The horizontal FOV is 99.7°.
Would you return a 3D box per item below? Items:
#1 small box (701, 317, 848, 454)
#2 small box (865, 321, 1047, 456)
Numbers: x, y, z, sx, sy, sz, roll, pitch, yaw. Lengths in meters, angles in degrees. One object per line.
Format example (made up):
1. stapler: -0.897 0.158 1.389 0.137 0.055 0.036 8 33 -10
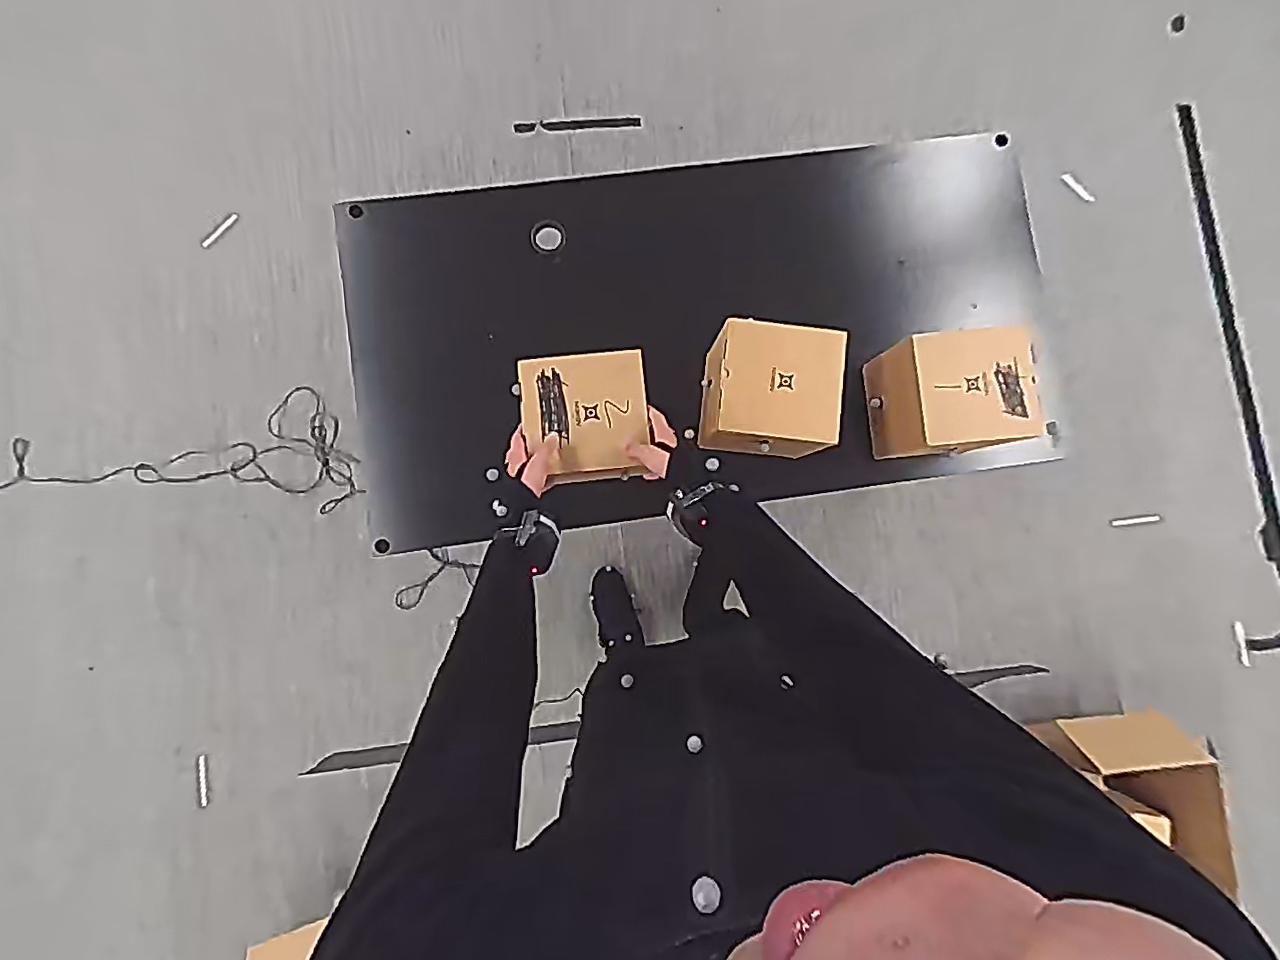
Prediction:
1. small box: 0.199 -0.135 0.837 0.179 0.176 0.168 5 85 -1
2. small box: 0.479 -0.134 0.843 0.179 0.176 0.168 -6 85 -1
